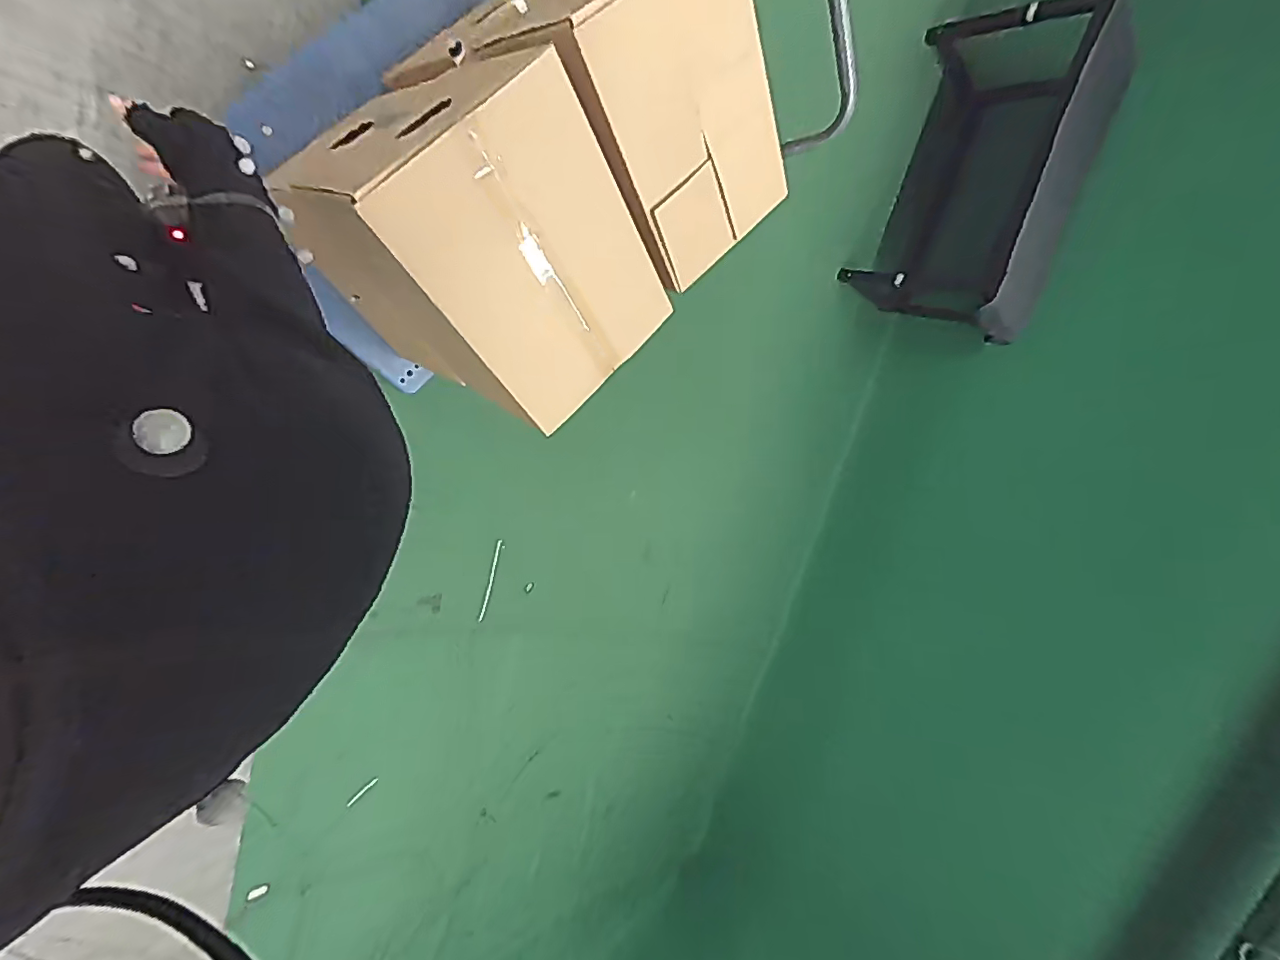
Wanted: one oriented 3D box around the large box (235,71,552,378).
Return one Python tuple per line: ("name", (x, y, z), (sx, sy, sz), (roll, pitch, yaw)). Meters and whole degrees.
("large box", (-0.456, -0.466, 1.046), (0.320, 0.320, 0.408), (-52, 137, -16))
